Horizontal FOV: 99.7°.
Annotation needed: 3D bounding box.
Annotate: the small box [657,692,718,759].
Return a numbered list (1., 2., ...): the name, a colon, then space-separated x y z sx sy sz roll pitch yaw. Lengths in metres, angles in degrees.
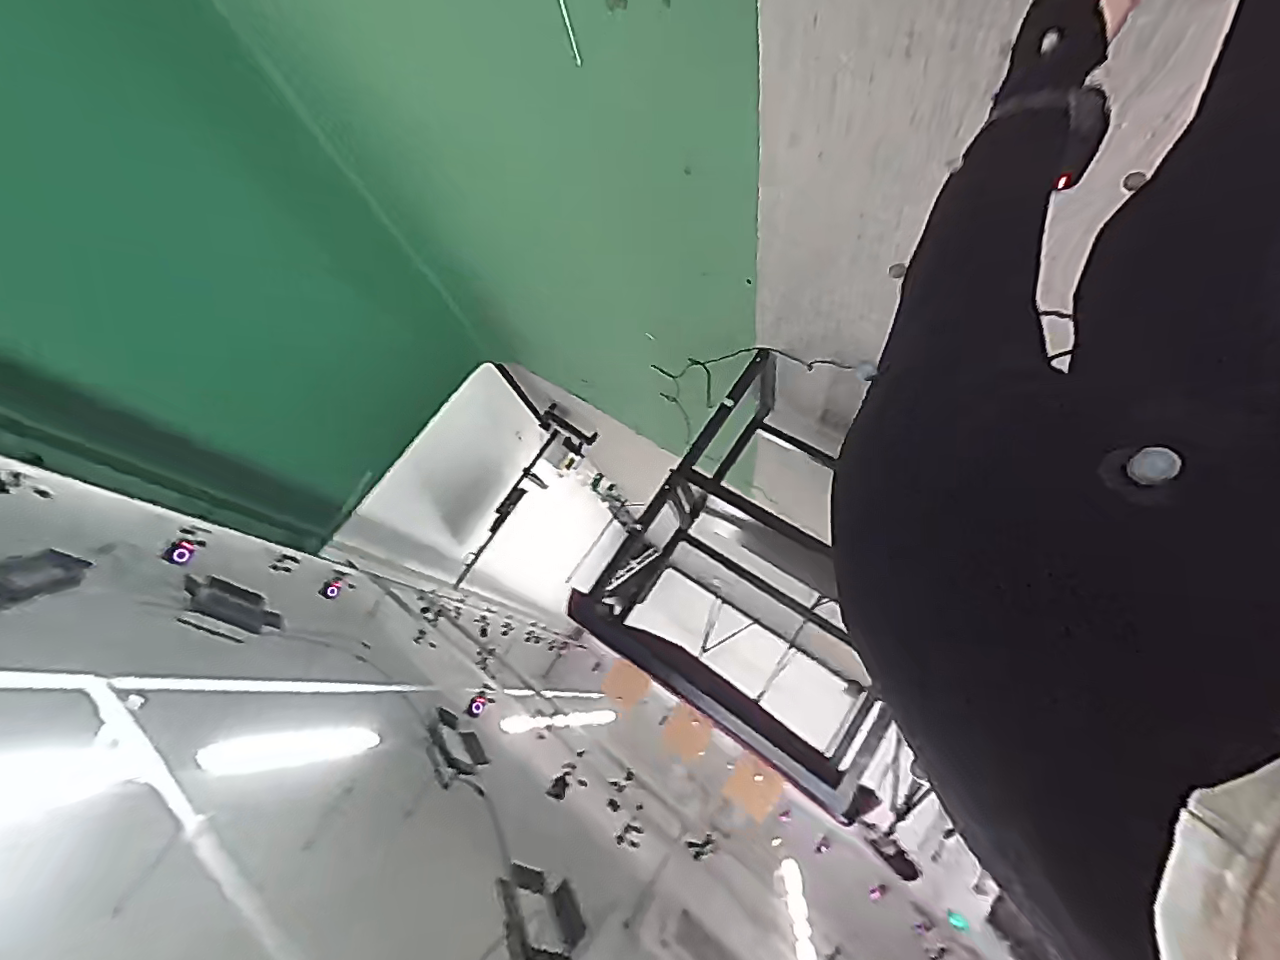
1. small box: 0.189 0.943 2.091 0.168 0.176 0.179 31 168 20

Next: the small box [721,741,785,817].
1. small box: 0.413 1.076 1.962 0.168 0.176 0.179 31 168 23

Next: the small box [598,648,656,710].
1. small box: -0.046 0.800 2.197 0.168 0.176 0.179 32 170 14
